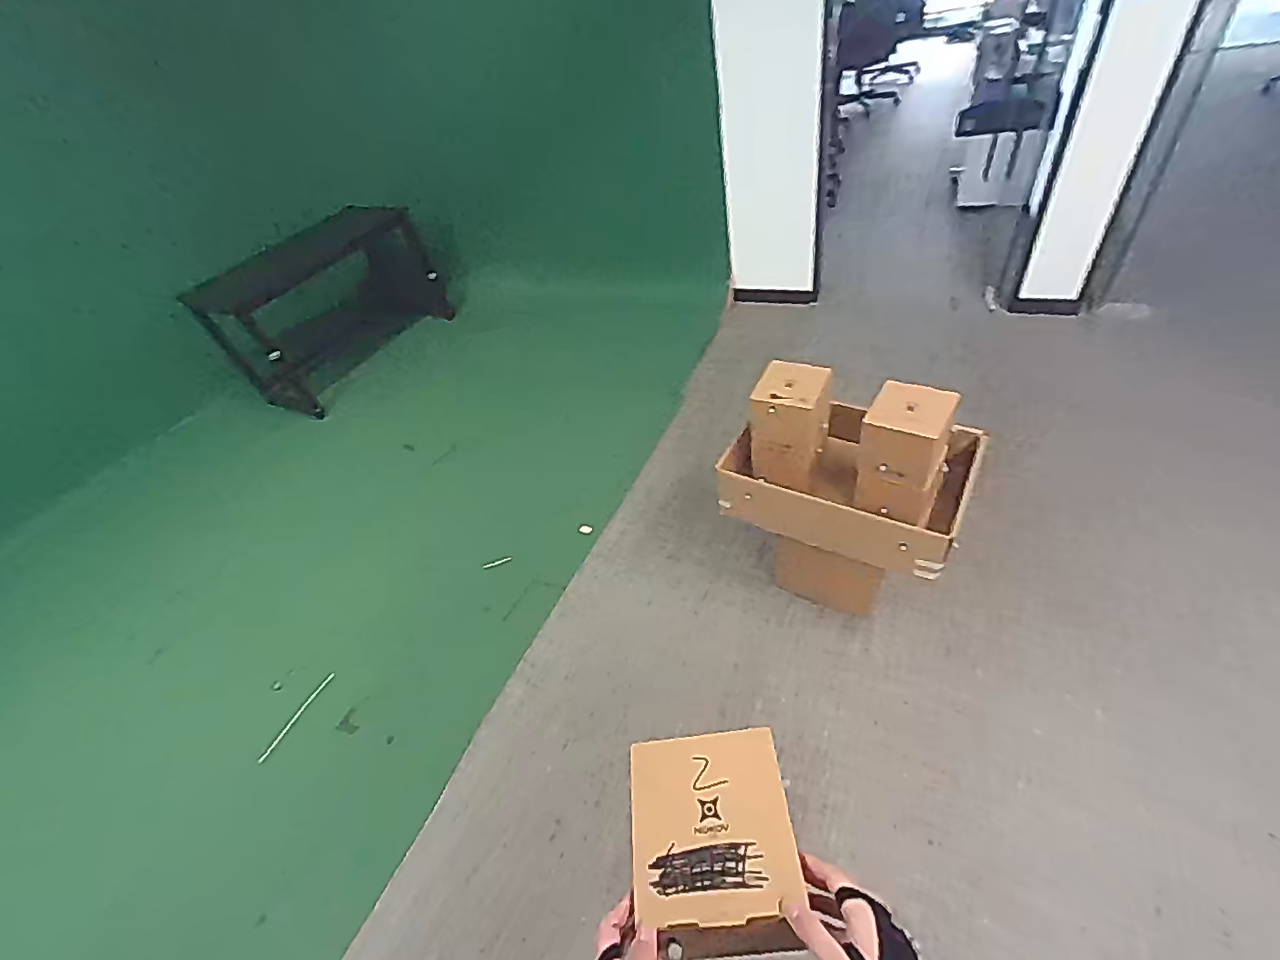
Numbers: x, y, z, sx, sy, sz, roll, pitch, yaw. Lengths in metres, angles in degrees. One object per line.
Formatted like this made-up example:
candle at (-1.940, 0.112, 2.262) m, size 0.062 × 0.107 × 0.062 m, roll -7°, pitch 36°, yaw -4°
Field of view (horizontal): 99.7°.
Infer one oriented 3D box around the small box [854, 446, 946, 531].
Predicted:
small box at (0.682, 0.001, 1.433) m, size 0.168 × 0.176 × 0.179 m, roll 22°, pitch 55°, yaw 32°

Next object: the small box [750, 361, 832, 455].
small box at (0.408, -0.196, 1.464) m, size 0.168 × 0.176 × 0.179 m, roll 15°, pitch 51°, yaw 28°

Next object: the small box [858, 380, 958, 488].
small box at (0.647, -0.112, 1.321) m, size 0.168 × 0.176 × 0.179 m, roll 21°, pitch 55°, yaw 31°
